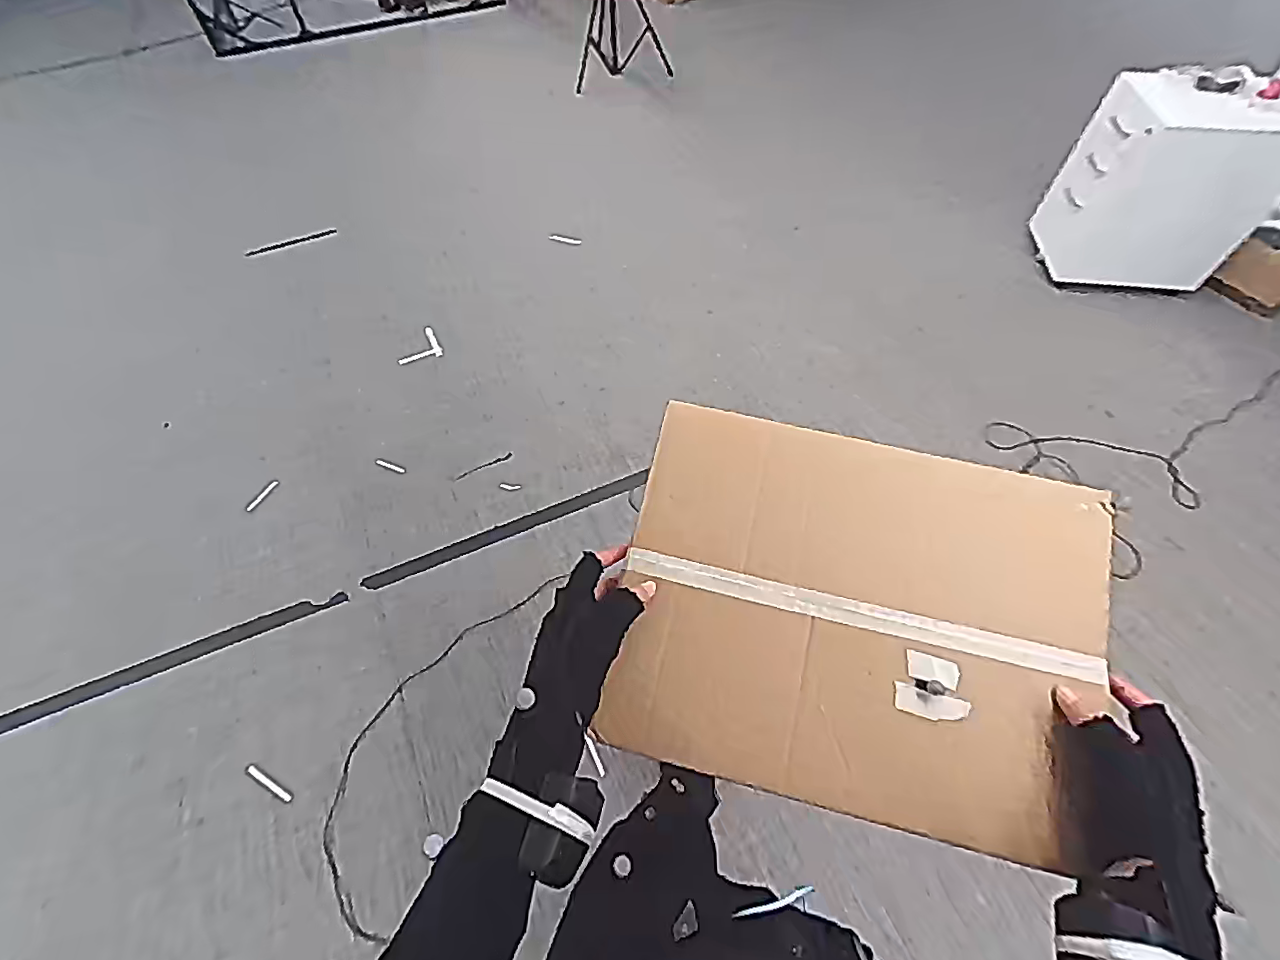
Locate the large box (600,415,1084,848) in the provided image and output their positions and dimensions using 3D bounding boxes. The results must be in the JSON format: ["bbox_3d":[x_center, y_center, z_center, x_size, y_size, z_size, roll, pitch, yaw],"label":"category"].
[{"bbox_3d":[0.193,0.152,0.634,0.408,0.320,0.320,13,78,6],"label":"large box"}]
